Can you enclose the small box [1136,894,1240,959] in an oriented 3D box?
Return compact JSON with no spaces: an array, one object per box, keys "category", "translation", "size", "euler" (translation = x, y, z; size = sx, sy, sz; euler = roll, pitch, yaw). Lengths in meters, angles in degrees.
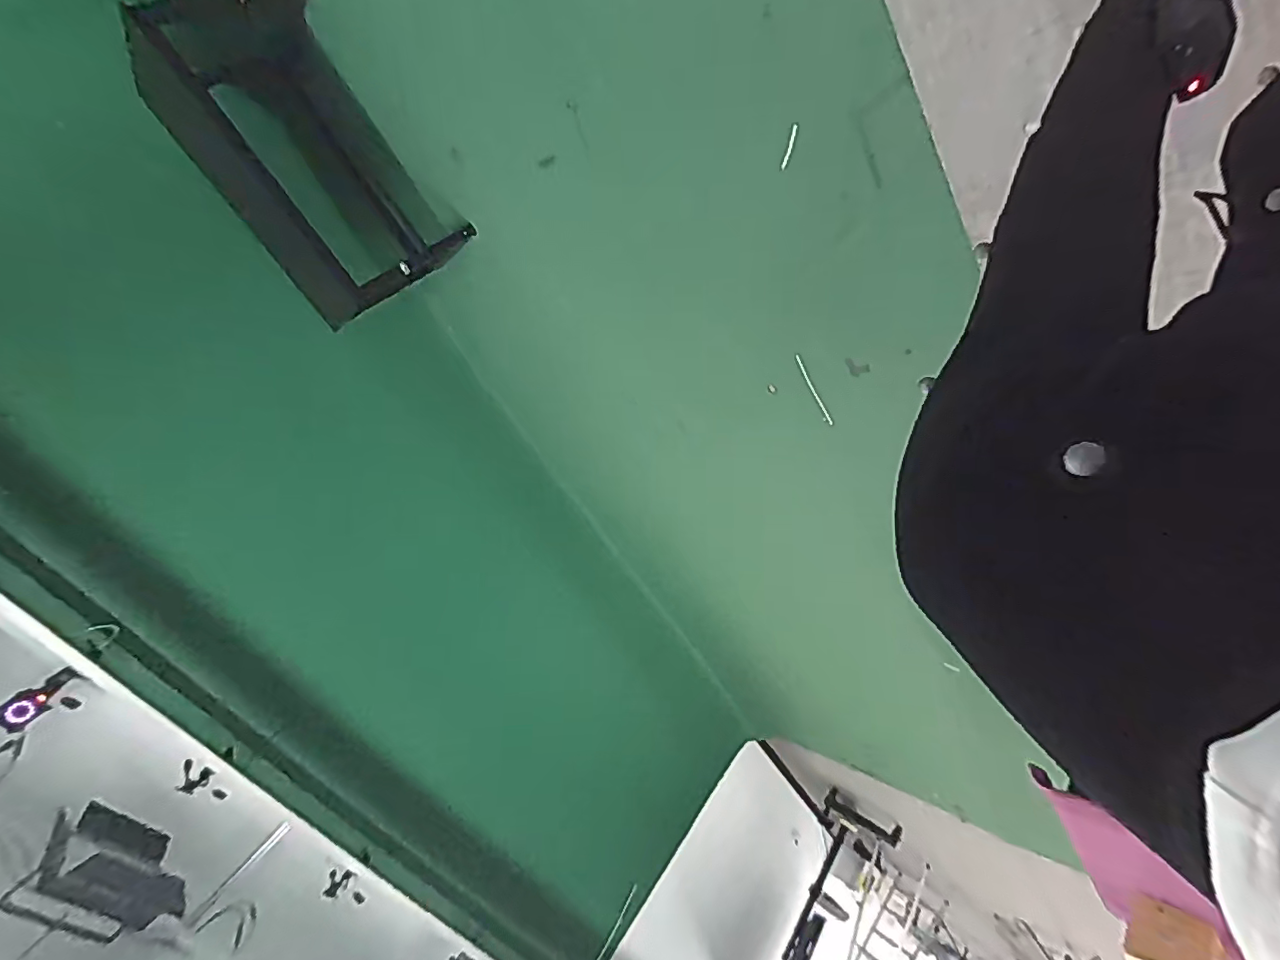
[{"category":"small box","translation":[1.464,1.266,1.443],"size":[0.168,0.176,0.179],"euler":[-4,125,56]}]
